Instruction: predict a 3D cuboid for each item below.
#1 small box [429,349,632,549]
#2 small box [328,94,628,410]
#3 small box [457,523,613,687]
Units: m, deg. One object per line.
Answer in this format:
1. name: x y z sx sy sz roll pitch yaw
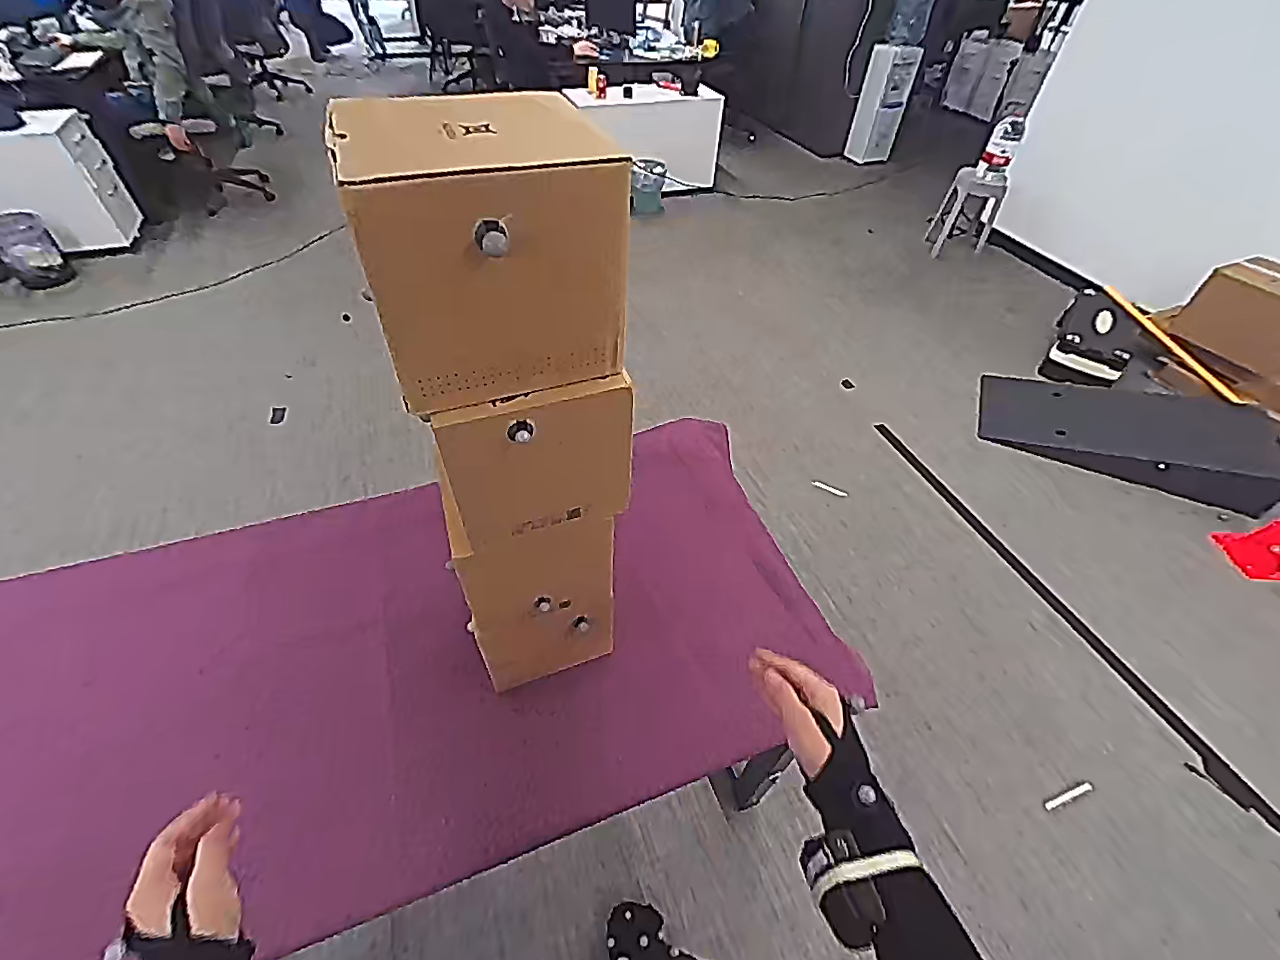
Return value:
1. small box: -0.116 -0.062 0.540 0.168 0.176 0.179 -15 49 -16
2. small box: -0.120 -0.180 0.427 0.179 0.176 0.168 -16 50 -17
3. small box: -0.146 0.166 0.774 0.179 0.176 0.168 -15 49 -16
